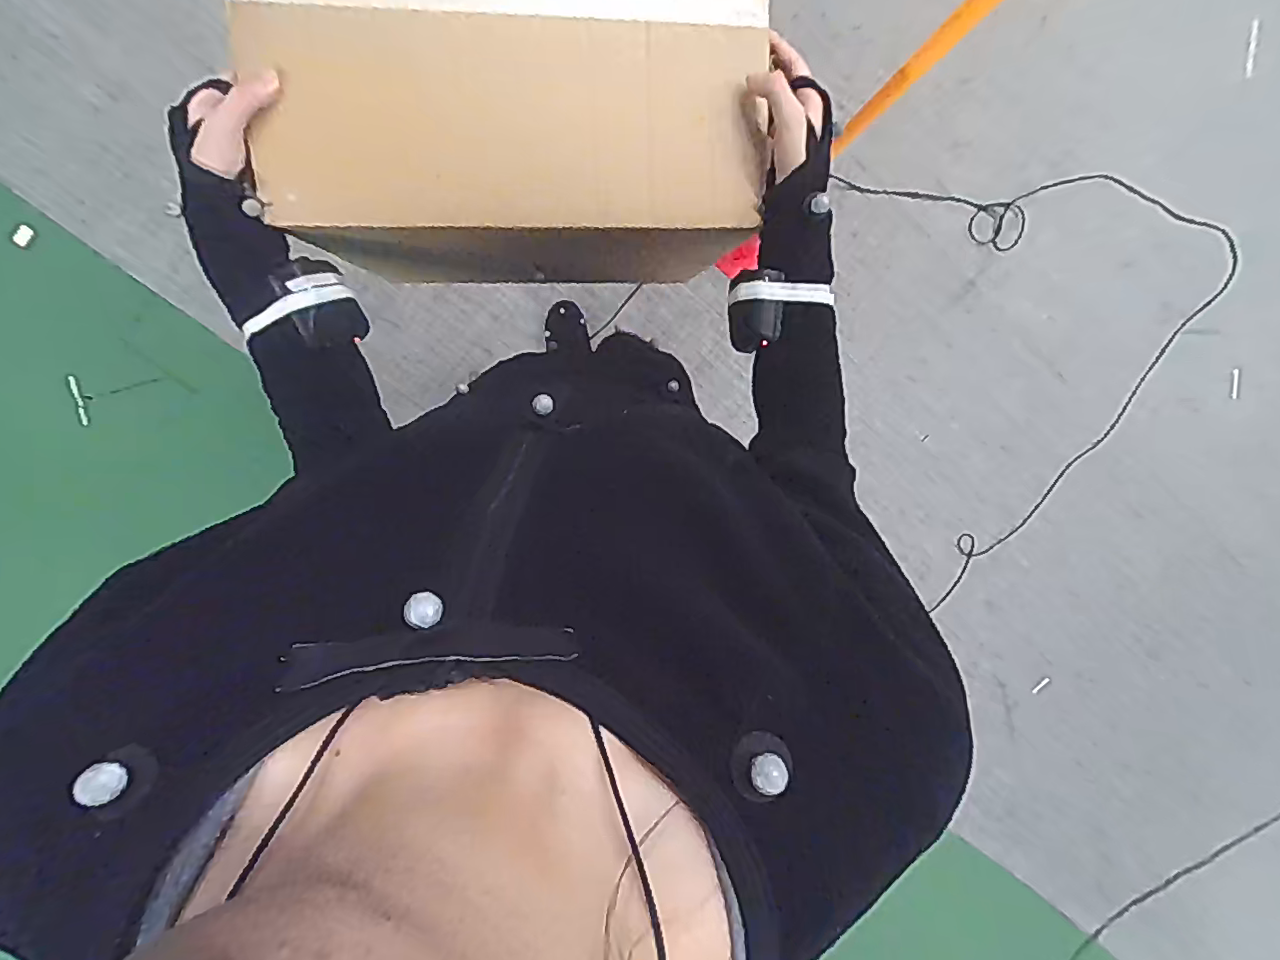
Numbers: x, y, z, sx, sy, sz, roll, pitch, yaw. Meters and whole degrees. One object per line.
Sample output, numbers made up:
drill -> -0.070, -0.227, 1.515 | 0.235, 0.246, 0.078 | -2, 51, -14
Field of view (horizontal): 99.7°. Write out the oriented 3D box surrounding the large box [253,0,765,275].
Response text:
large box -> -0.110, -0.398, 0.570 | 0.408, 0.320, 0.320 | -3, 103, -7
